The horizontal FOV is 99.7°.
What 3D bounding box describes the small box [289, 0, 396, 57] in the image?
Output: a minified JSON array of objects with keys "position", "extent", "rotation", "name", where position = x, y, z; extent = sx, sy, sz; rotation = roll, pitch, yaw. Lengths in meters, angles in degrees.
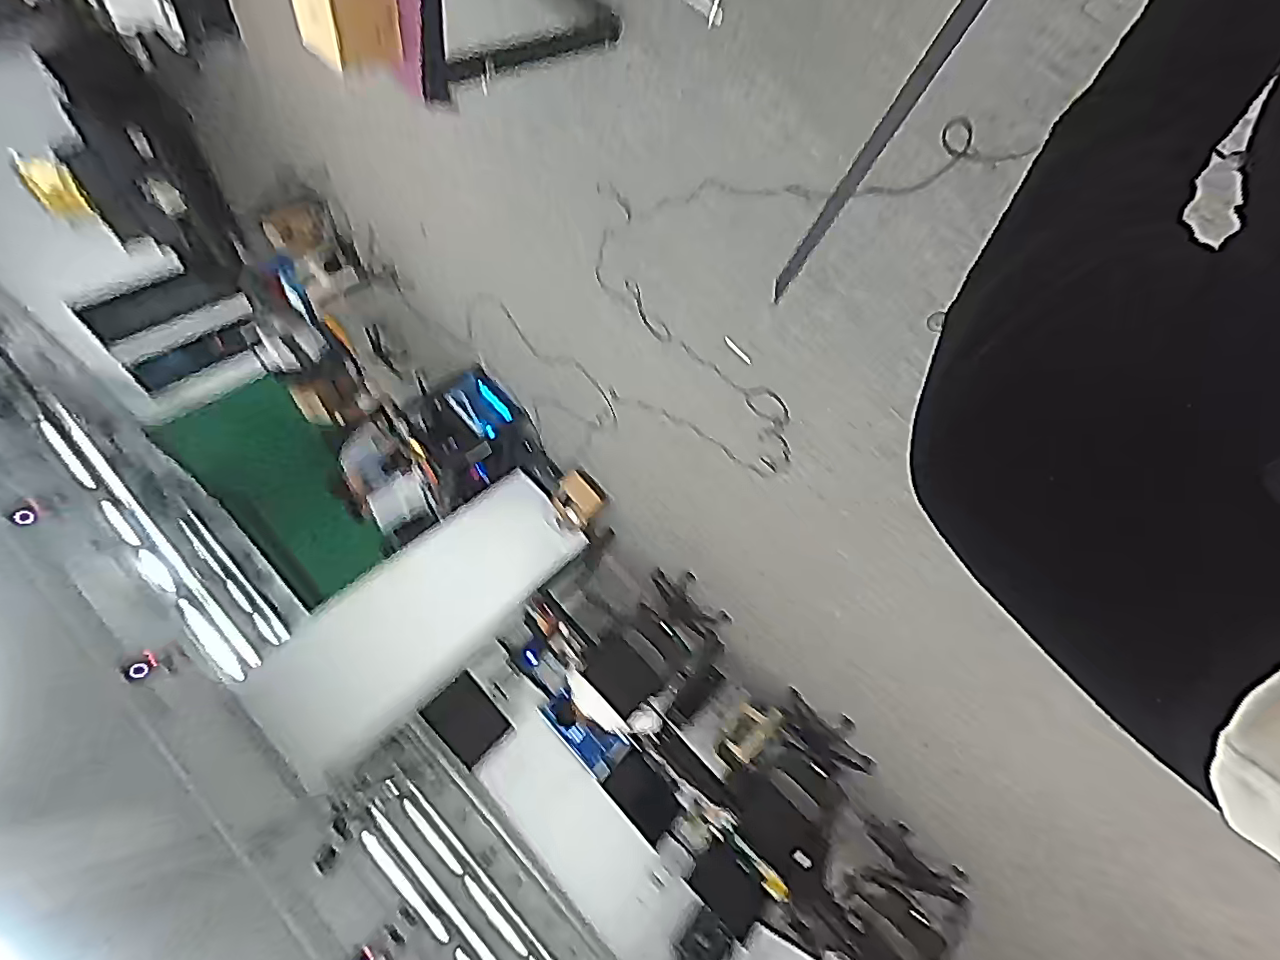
[{"position":[-0.705,-1.138,1.266],"extent":[0.179,0.176,0.168],"rotation":[43,149,10],"name":"small box"}]
